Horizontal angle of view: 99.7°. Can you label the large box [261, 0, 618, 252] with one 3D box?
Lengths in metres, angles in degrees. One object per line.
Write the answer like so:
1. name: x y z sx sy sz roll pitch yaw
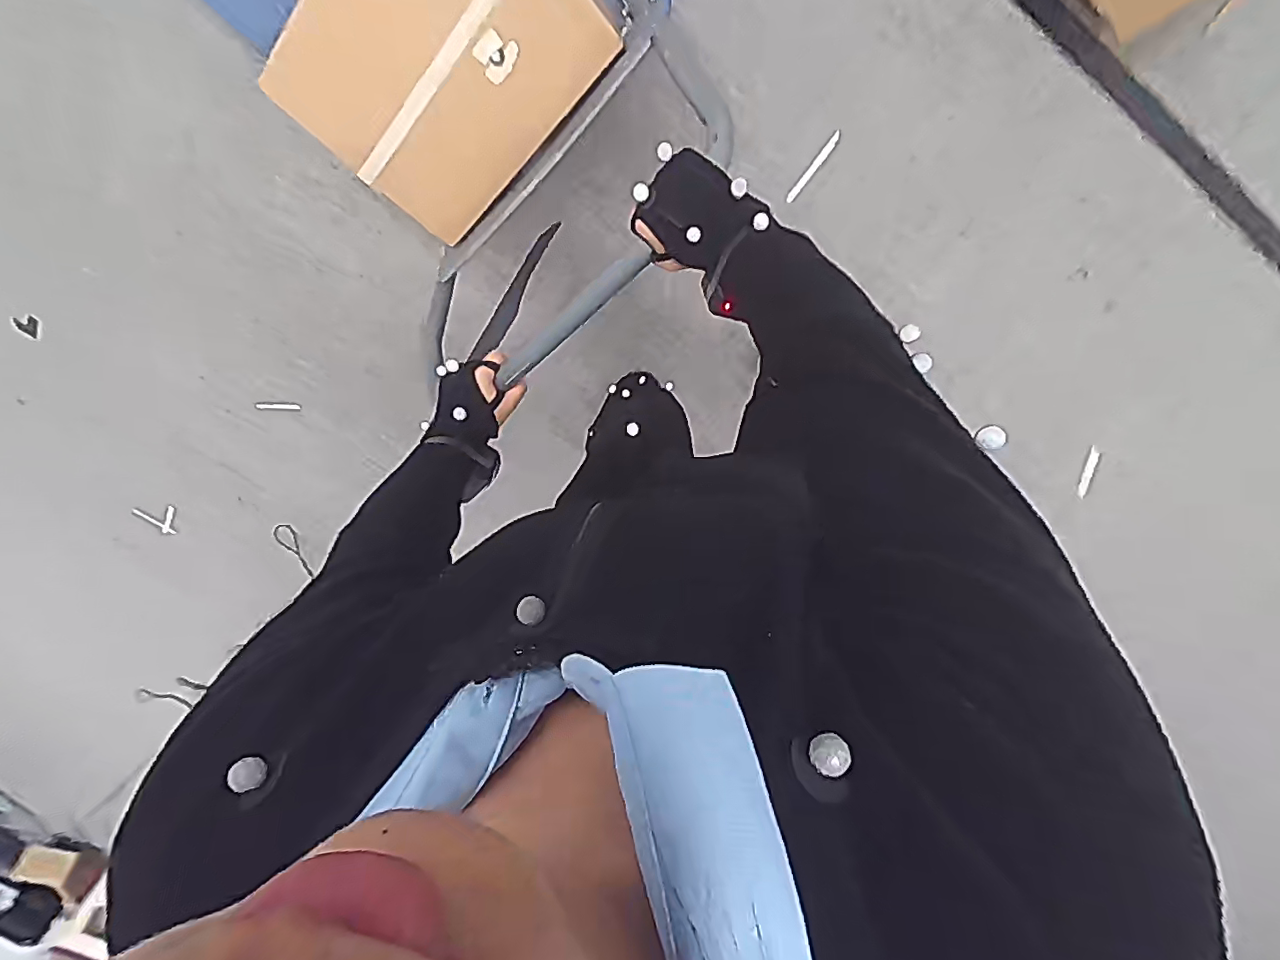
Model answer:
1. large box: -0.284 -0.655 0.833 0.408 0.320 0.320 -36 129 26
